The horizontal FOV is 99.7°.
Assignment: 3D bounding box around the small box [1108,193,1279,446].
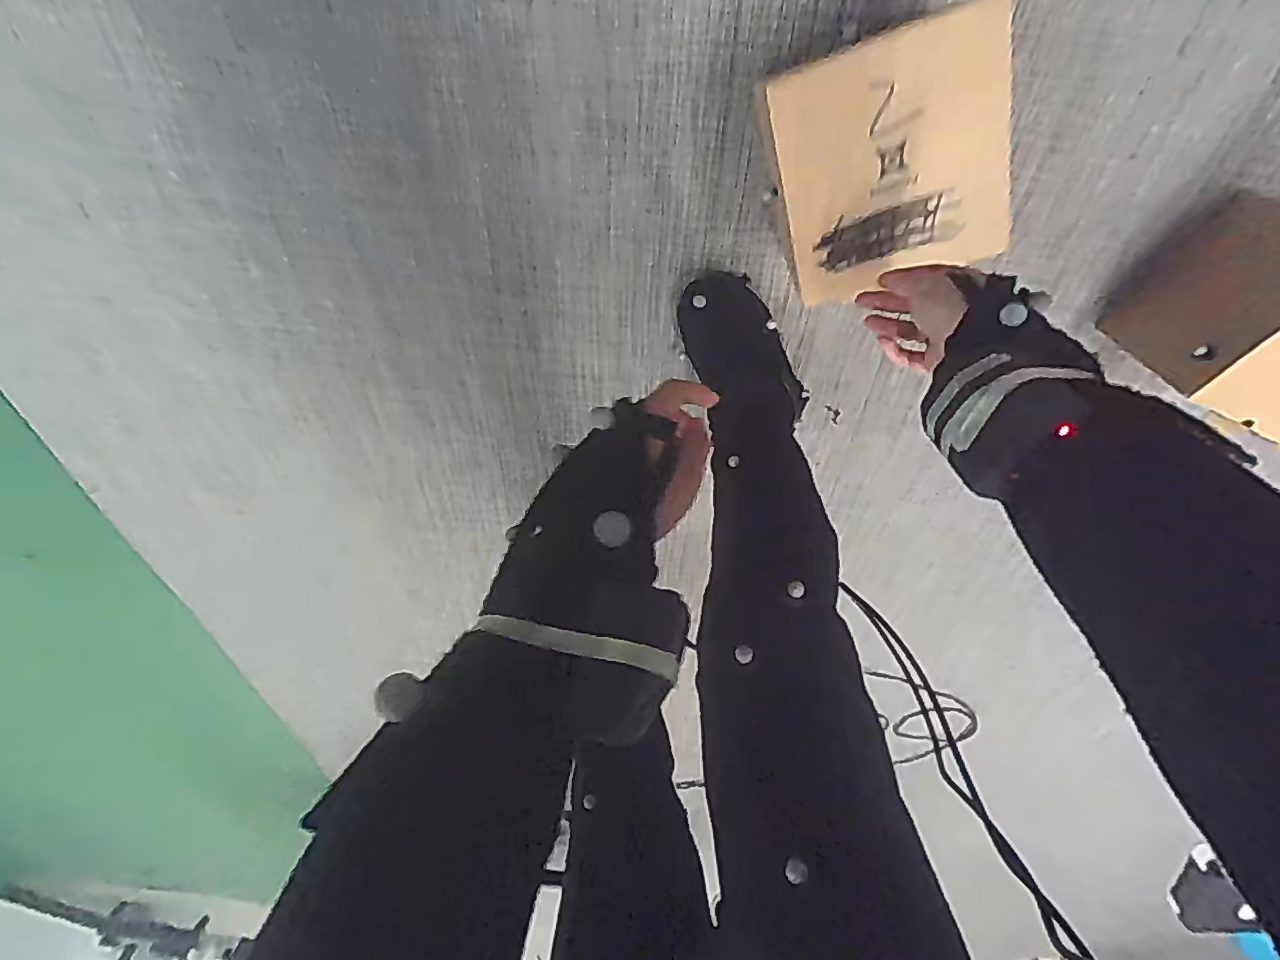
[{"bbox_3d":[0.661,-0.165,0.561,0.168,0.176,0.179,20,130,-12],"label":"small box"}]
